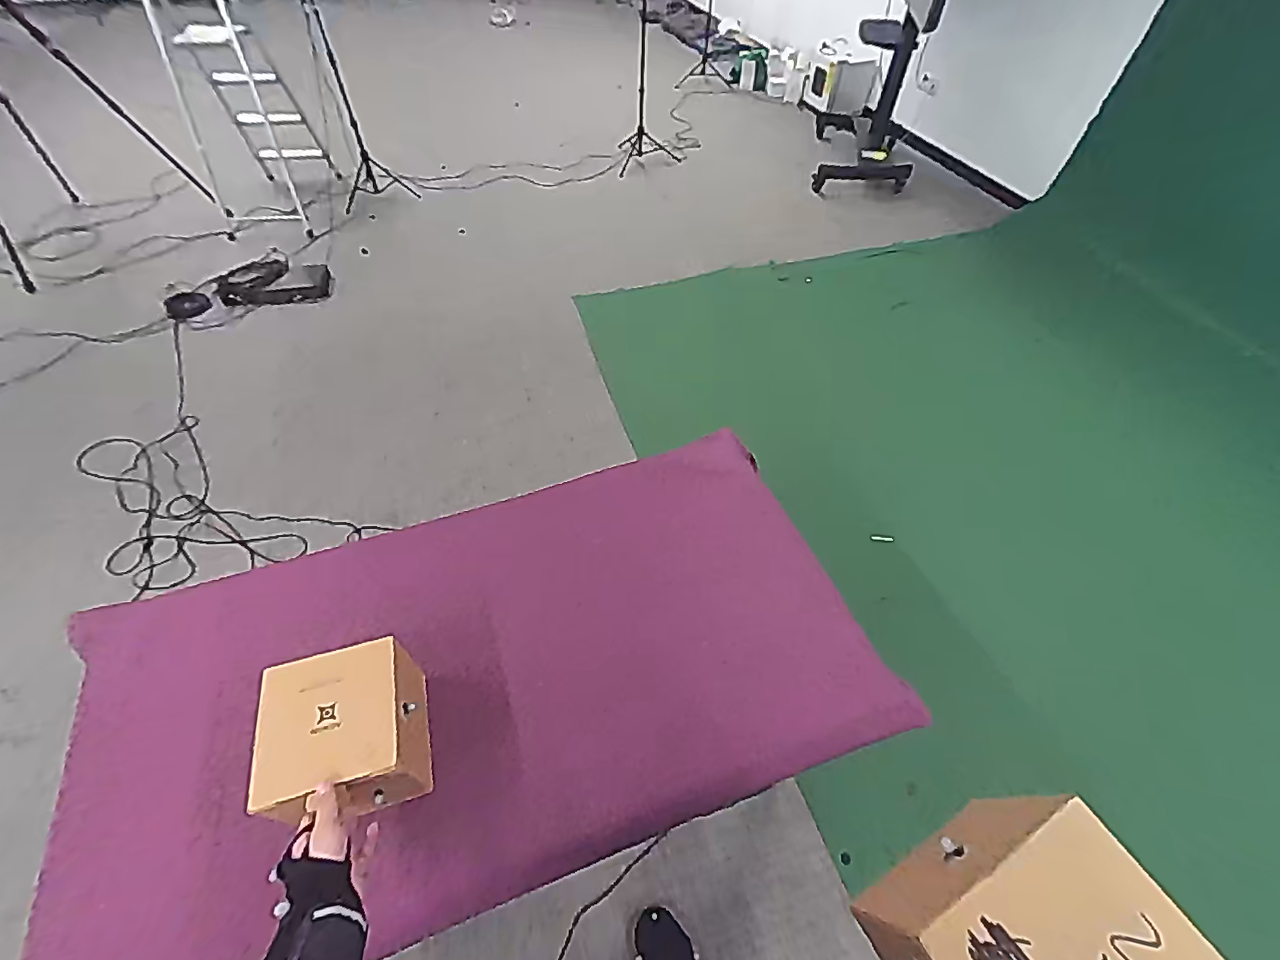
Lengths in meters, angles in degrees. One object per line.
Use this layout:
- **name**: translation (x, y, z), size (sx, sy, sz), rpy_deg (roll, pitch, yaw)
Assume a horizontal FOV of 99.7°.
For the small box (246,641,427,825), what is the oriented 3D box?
- **small box**: translation (-0.402, 0.354, 0.746), size (0.168, 0.176, 0.179), rpy_deg (-12, 52, -13)
